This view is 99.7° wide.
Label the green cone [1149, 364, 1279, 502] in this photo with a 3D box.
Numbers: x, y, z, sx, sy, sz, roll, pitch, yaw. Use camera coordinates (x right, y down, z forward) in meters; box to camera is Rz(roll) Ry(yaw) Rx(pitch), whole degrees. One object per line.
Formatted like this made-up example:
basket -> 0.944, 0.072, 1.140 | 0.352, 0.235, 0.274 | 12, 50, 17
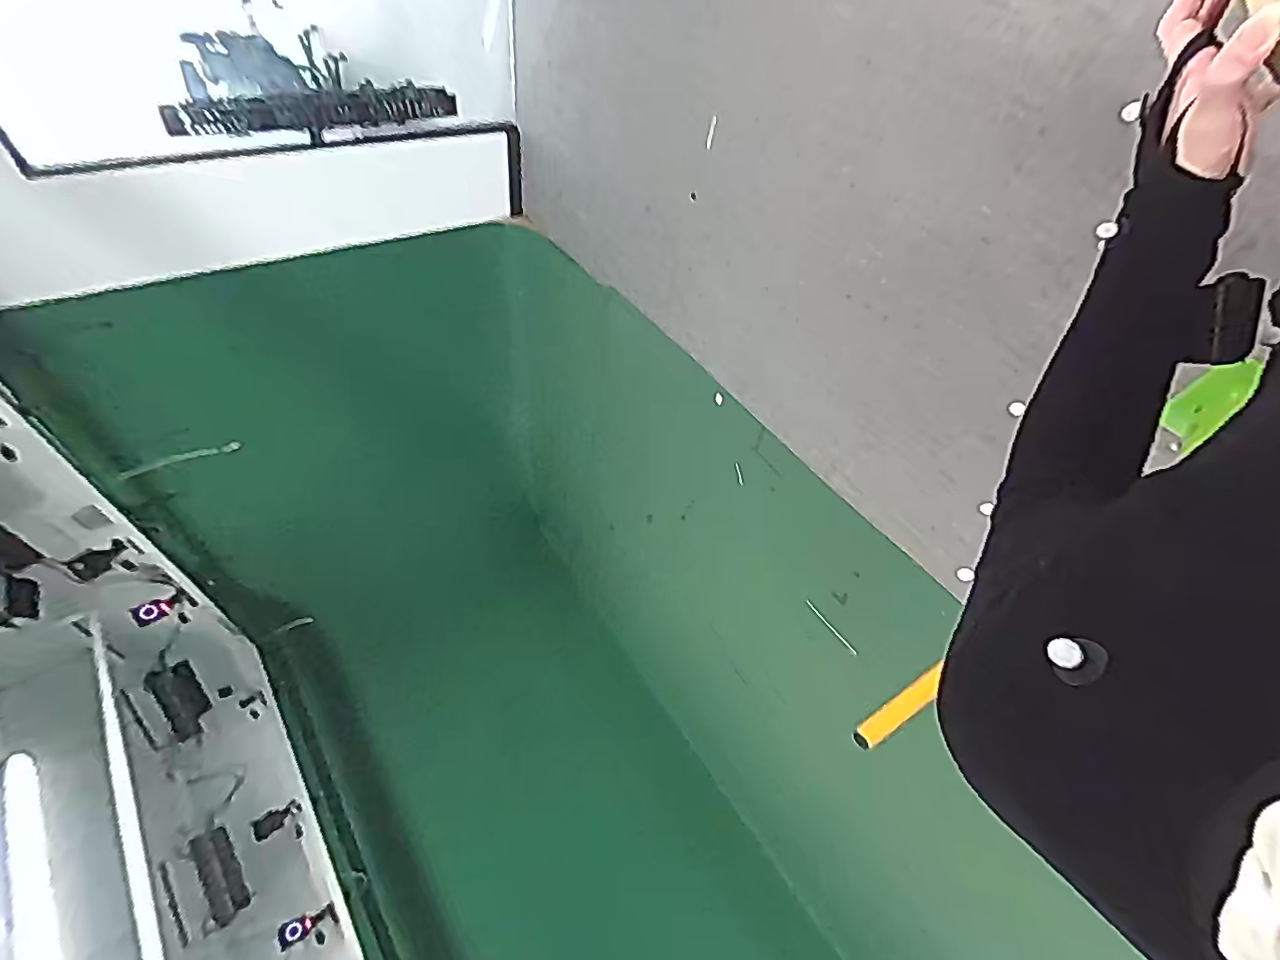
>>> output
green cone -> 1.116, -0.051, 1.061 | 0.202, 0.368, 0.200 | 48, 148, 25
